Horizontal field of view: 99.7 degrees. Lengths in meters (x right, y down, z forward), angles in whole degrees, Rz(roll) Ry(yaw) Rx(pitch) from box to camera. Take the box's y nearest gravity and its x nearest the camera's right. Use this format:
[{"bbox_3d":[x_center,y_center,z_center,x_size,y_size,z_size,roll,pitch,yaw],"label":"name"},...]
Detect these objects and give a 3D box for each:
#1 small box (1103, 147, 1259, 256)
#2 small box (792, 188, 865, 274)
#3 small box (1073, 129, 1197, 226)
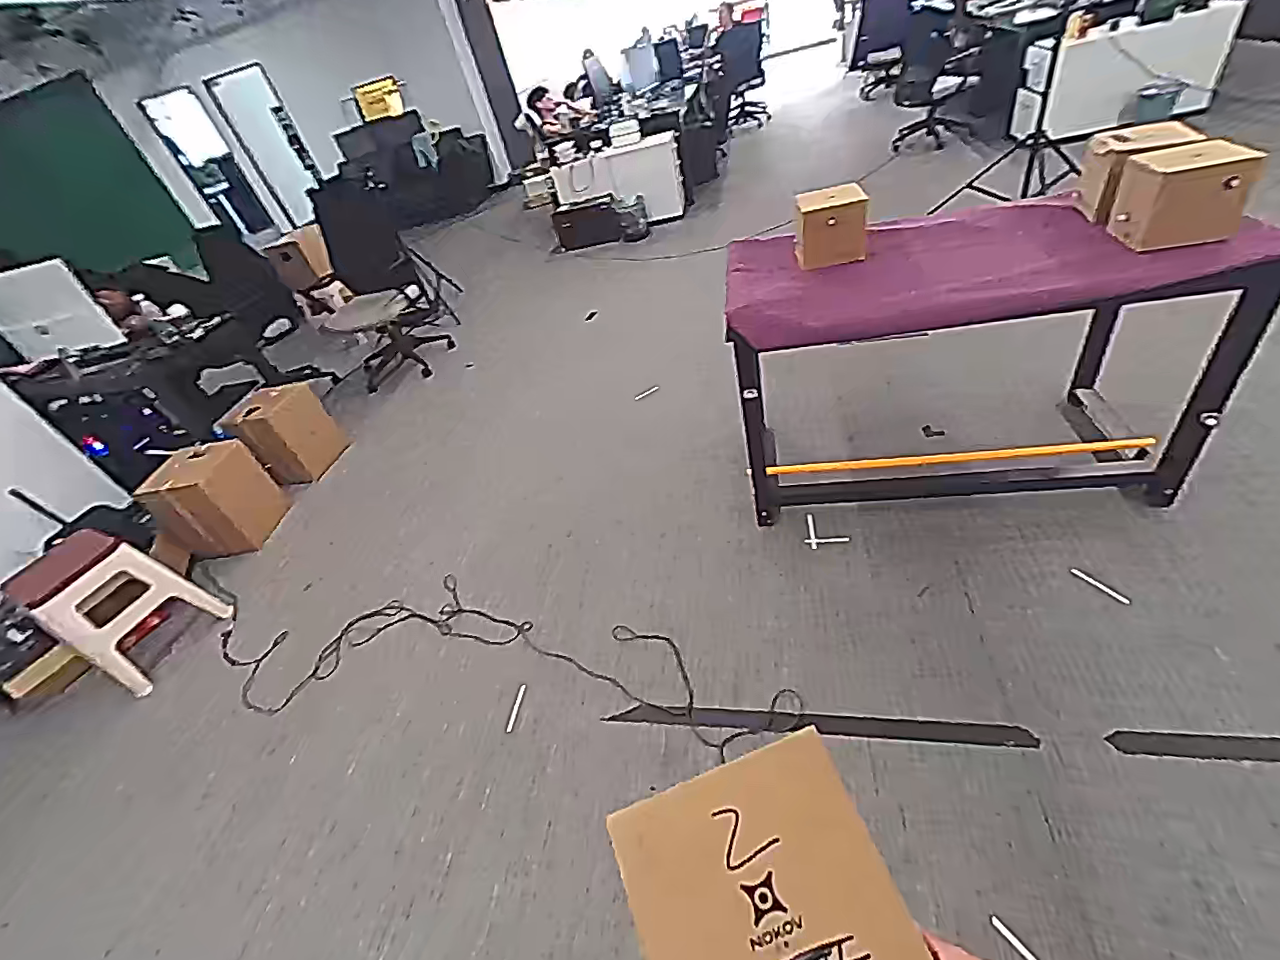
[{"bbox_3d":[1.217,-0.633,1.235,0.179,0.176,0.168,-4,39,17],"label":"small box"},{"bbox_3d":[0.546,-0.727,1.583,0.179,0.176,0.168,-7,41,12],"label":"small box"},{"bbox_3d":[1.245,-0.768,1.381,0.179,0.176,0.168,1,44,19],"label":"small box"}]
